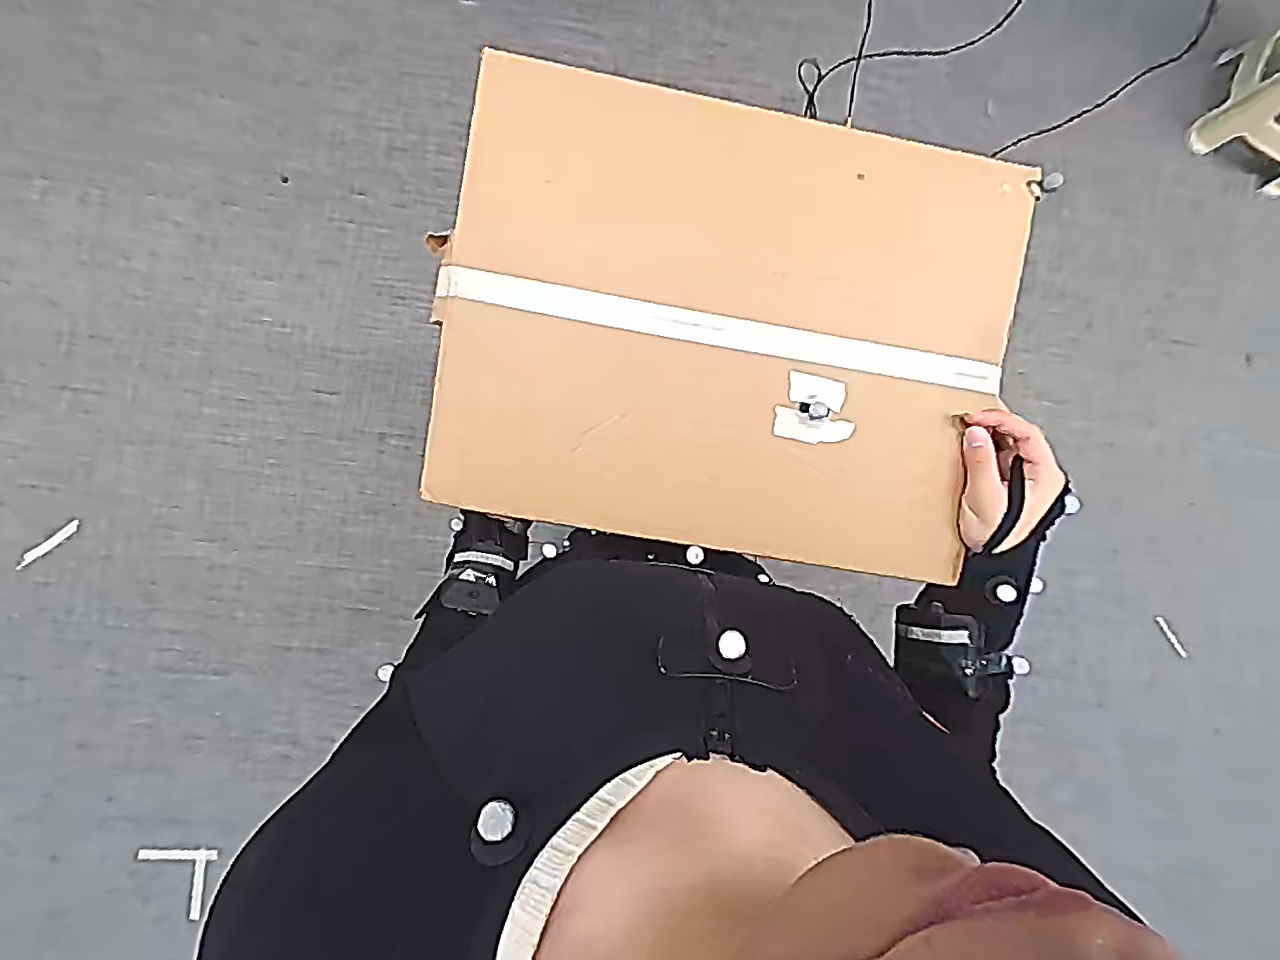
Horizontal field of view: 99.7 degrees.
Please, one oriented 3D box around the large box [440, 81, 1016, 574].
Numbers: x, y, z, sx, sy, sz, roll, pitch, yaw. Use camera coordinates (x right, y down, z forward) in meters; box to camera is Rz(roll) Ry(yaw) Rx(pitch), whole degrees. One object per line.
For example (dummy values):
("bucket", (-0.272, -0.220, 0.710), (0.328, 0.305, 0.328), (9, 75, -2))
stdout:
("large box", (0.056, -0.112, 0.547), (0.408, 0.320, 0.320), (9, 94, -5))
